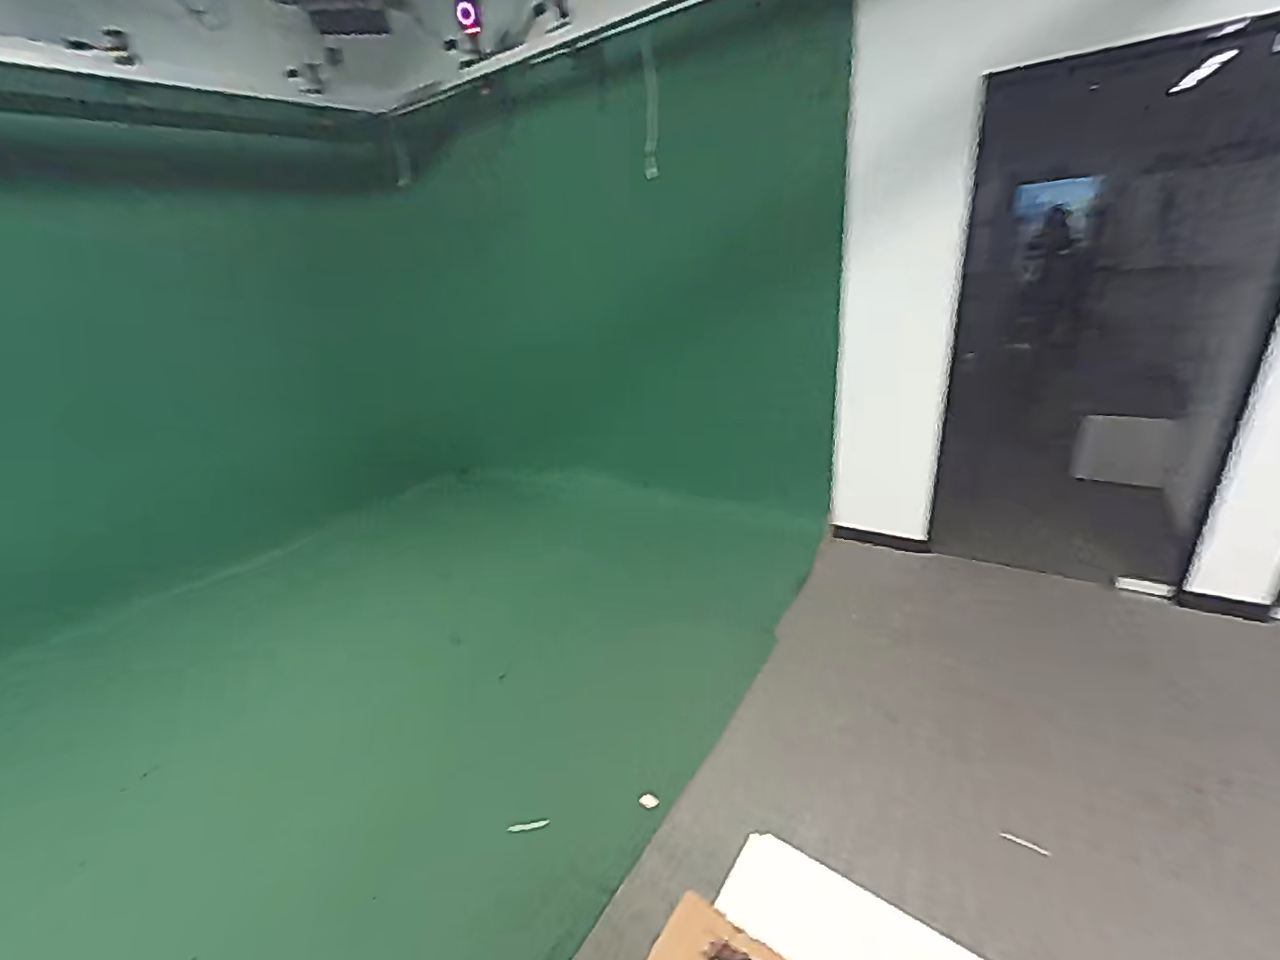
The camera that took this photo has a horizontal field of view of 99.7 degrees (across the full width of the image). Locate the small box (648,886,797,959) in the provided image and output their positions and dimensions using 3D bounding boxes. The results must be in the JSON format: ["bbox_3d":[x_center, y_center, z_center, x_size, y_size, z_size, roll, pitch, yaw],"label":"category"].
[{"bbox_3d":[0.094,0.683,0.679,0.168,0.176,0.179,13,31,35],"label":"small box"}]
